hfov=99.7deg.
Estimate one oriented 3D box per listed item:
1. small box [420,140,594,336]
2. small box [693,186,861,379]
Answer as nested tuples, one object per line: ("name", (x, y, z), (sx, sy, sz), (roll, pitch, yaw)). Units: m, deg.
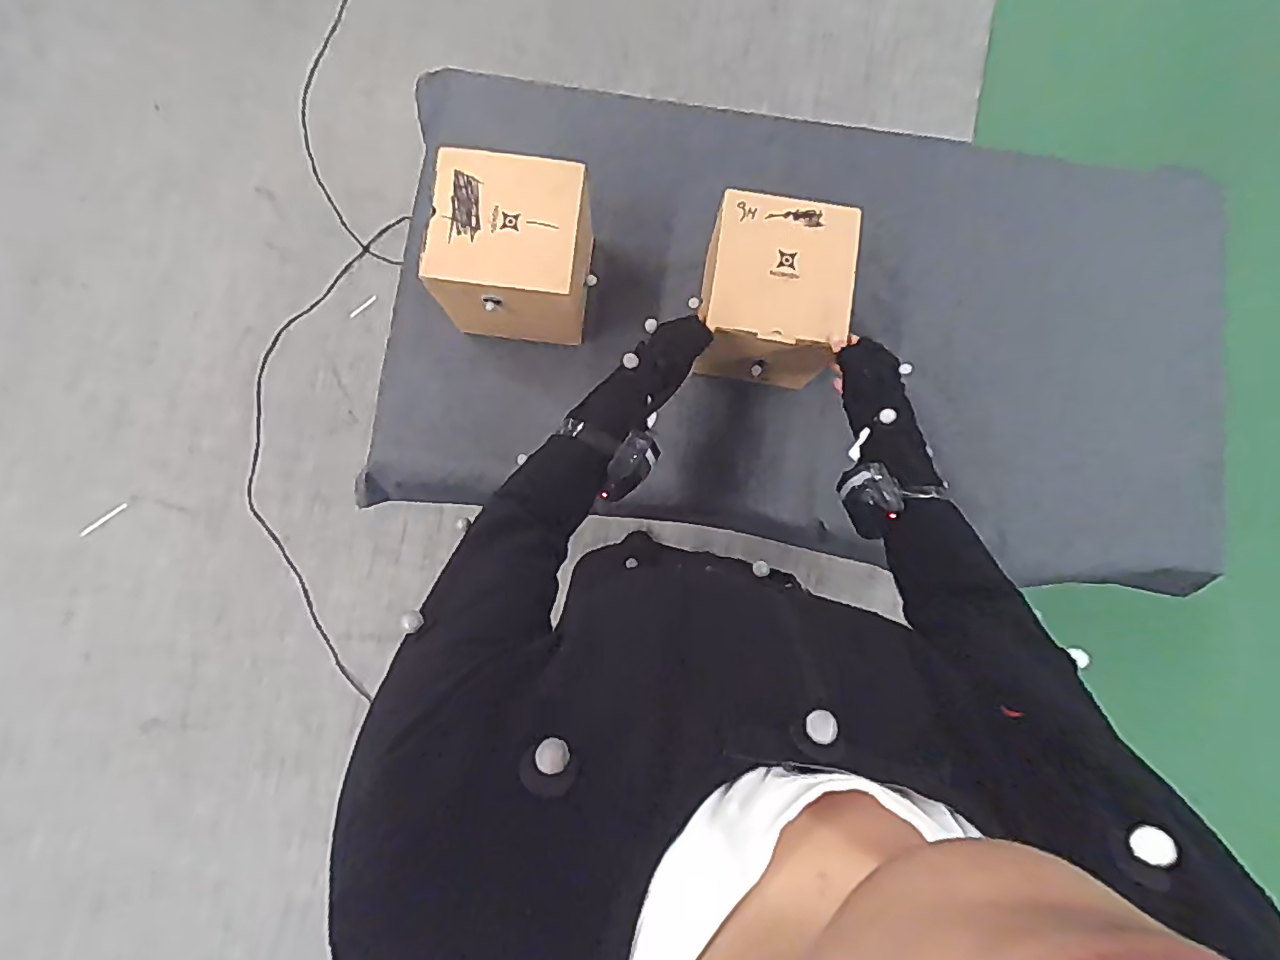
("small box", (-0.160, -0.301, 0.707), (0.179, 0.176, 0.168), (7, 85, -2))
("small box", (0.167, -0.244, 0.711), (0.168, 0.176, 0.179), (9, 85, 0))
